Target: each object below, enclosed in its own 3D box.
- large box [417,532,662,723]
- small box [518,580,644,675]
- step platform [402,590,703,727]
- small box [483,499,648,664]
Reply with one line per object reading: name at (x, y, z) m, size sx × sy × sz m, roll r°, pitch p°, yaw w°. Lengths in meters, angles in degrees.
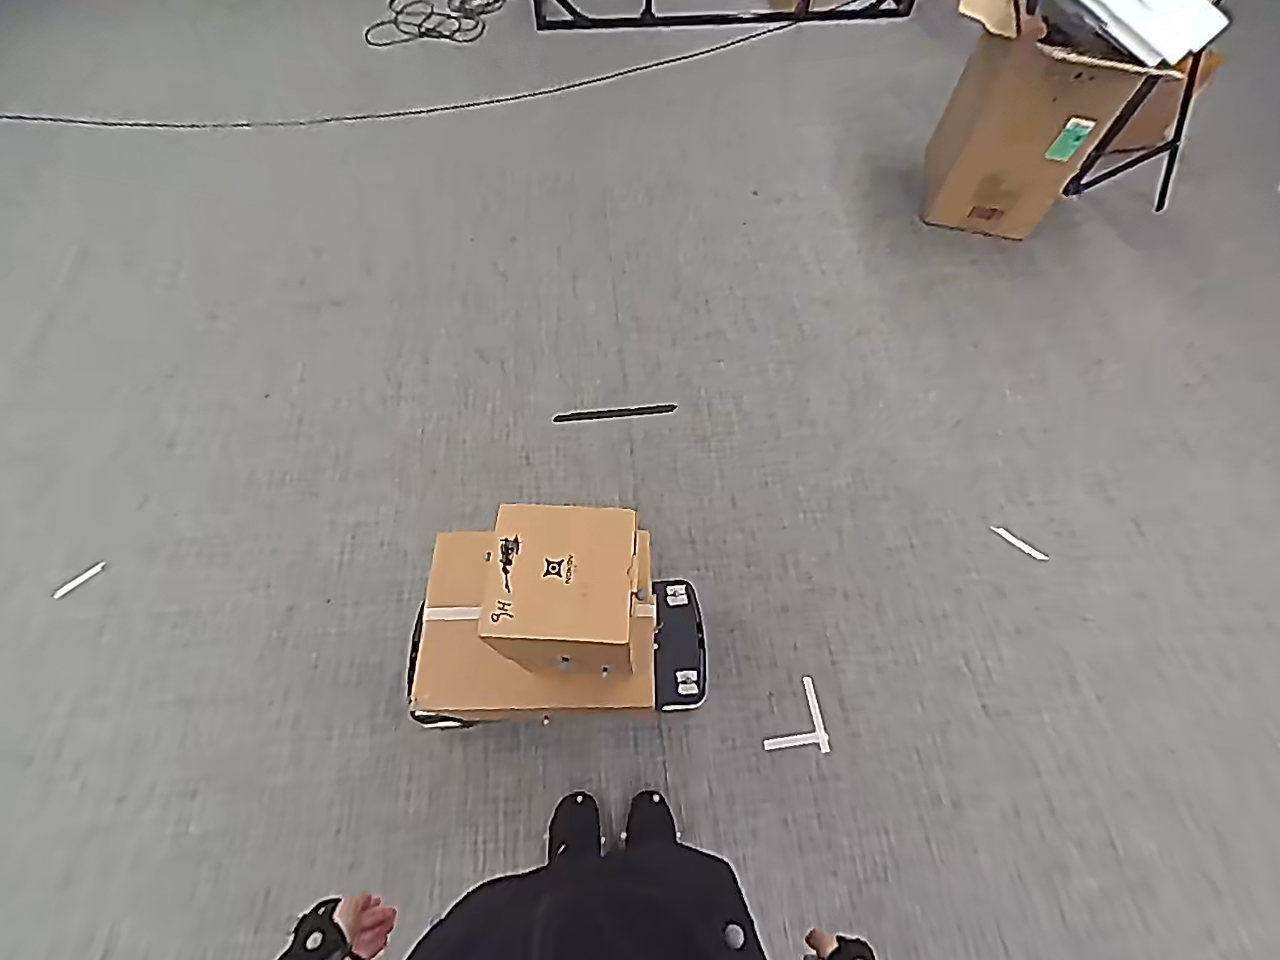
large box at (-0.166, 0.306, 1.078) m, size 0.408 × 0.320 × 0.320 m, roll -1°, pitch 62°, yaw 0°
small box at (-0.084, 0.210, 0.852) m, size 0.179 × 0.176 × 0.168 m, roll 1°, pitch 63°, yaw 1°
step platform at (-0.193, 0.420, 1.286) m, size 0.684 × 0.204 × 0.286 m, roll 1°, pitch 62°, yaw 1°
small box at (-0.085, 0.139, 0.704) m, size 0.179 × 0.176 × 0.168 m, roll 3°, pitch 62°, yaw 1°
